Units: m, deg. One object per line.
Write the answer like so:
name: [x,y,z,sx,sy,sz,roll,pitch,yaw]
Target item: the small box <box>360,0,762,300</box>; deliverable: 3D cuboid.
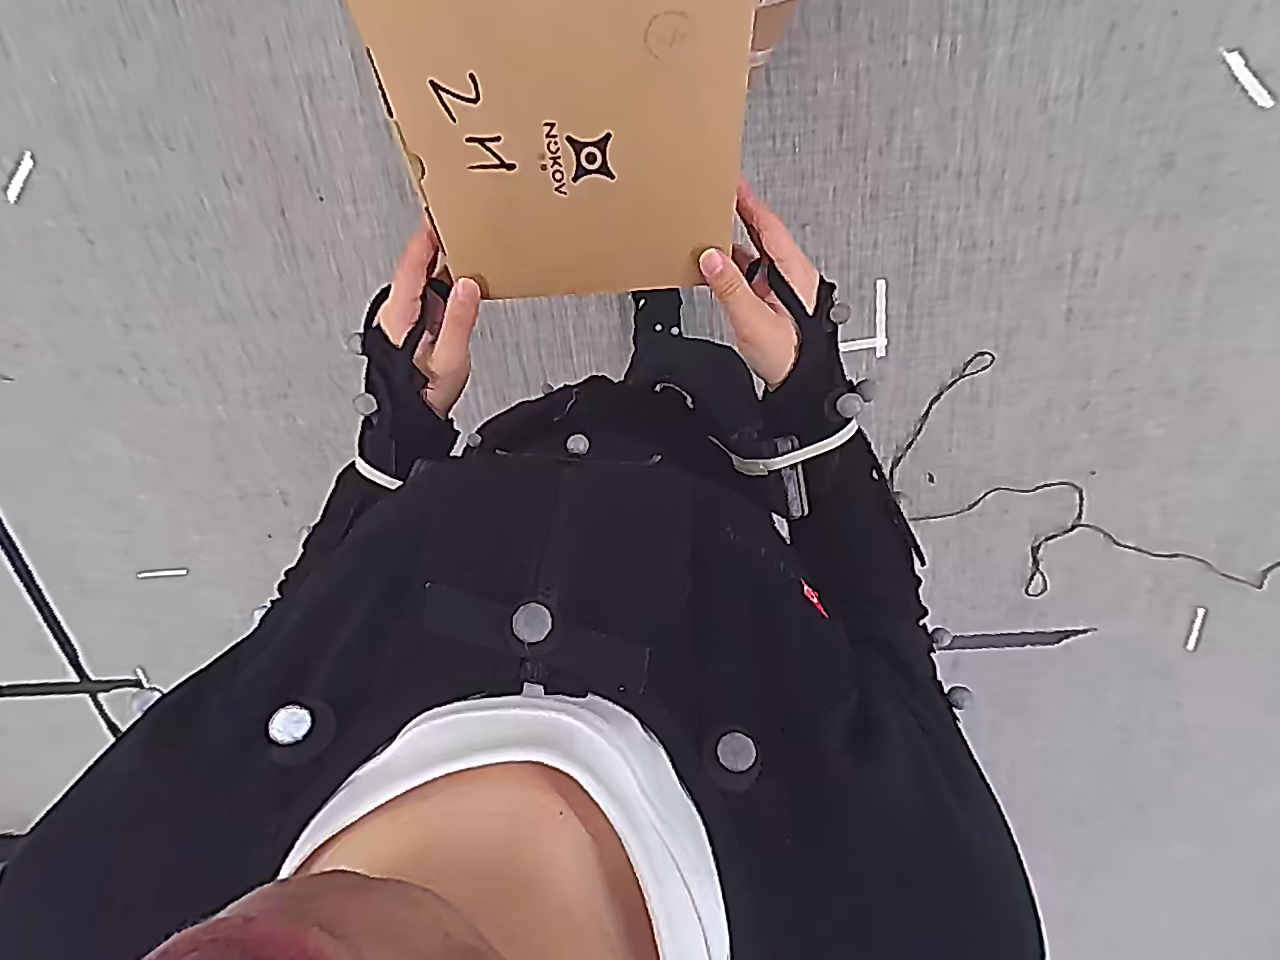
small box: [-0.035,-0.235,0.334,0.179,0.176,0.168,-3,144,1]
